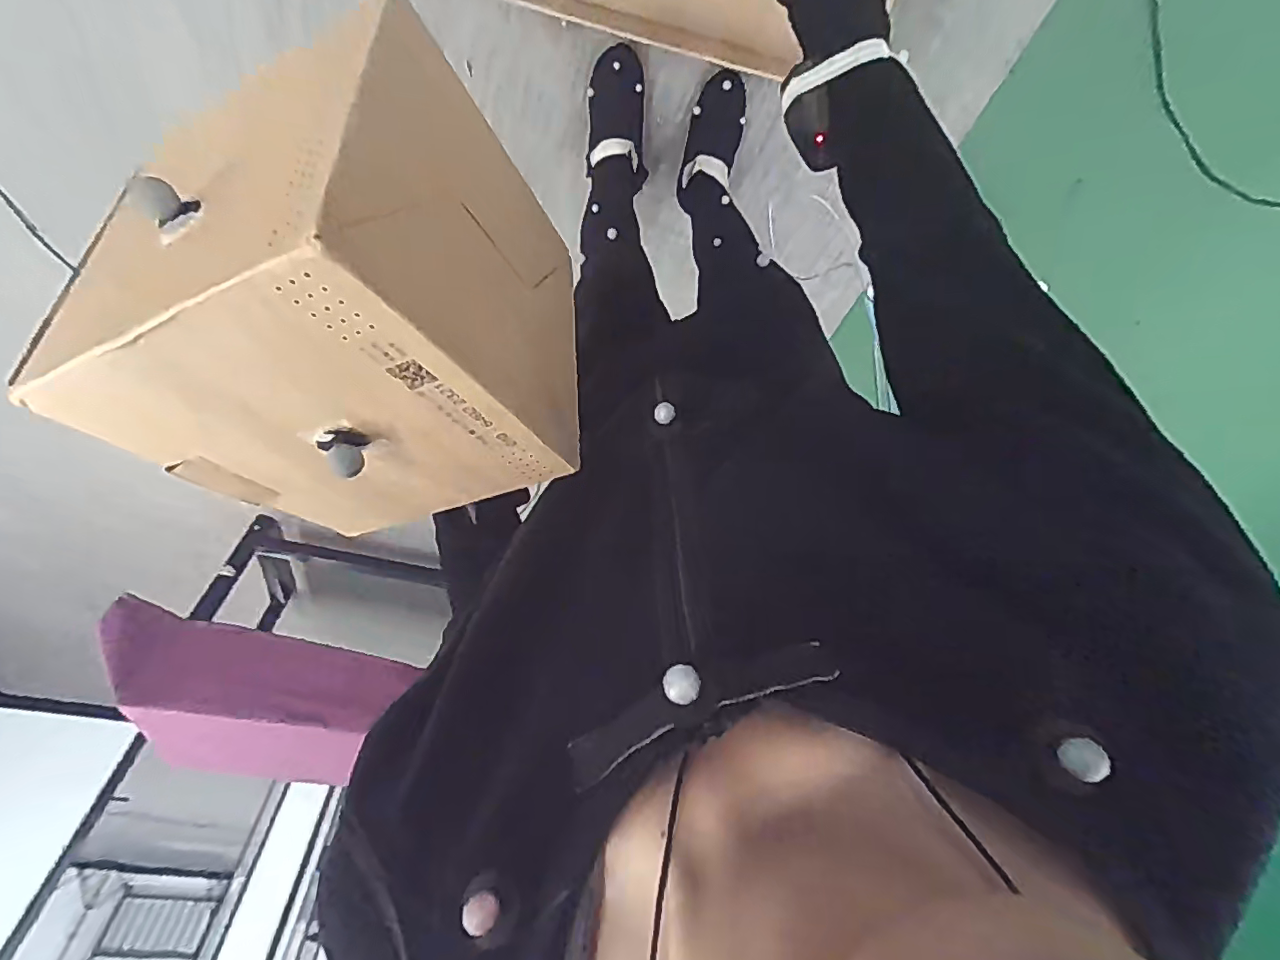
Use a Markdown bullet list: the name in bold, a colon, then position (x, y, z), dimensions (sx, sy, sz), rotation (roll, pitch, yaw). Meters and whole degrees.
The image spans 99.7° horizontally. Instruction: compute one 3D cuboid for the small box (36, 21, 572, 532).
- **small box**: position (-0.148, -0.093, 0.297), dimensions (0.176, 0.179, 0.168), rotation (-15, 151, 18)
